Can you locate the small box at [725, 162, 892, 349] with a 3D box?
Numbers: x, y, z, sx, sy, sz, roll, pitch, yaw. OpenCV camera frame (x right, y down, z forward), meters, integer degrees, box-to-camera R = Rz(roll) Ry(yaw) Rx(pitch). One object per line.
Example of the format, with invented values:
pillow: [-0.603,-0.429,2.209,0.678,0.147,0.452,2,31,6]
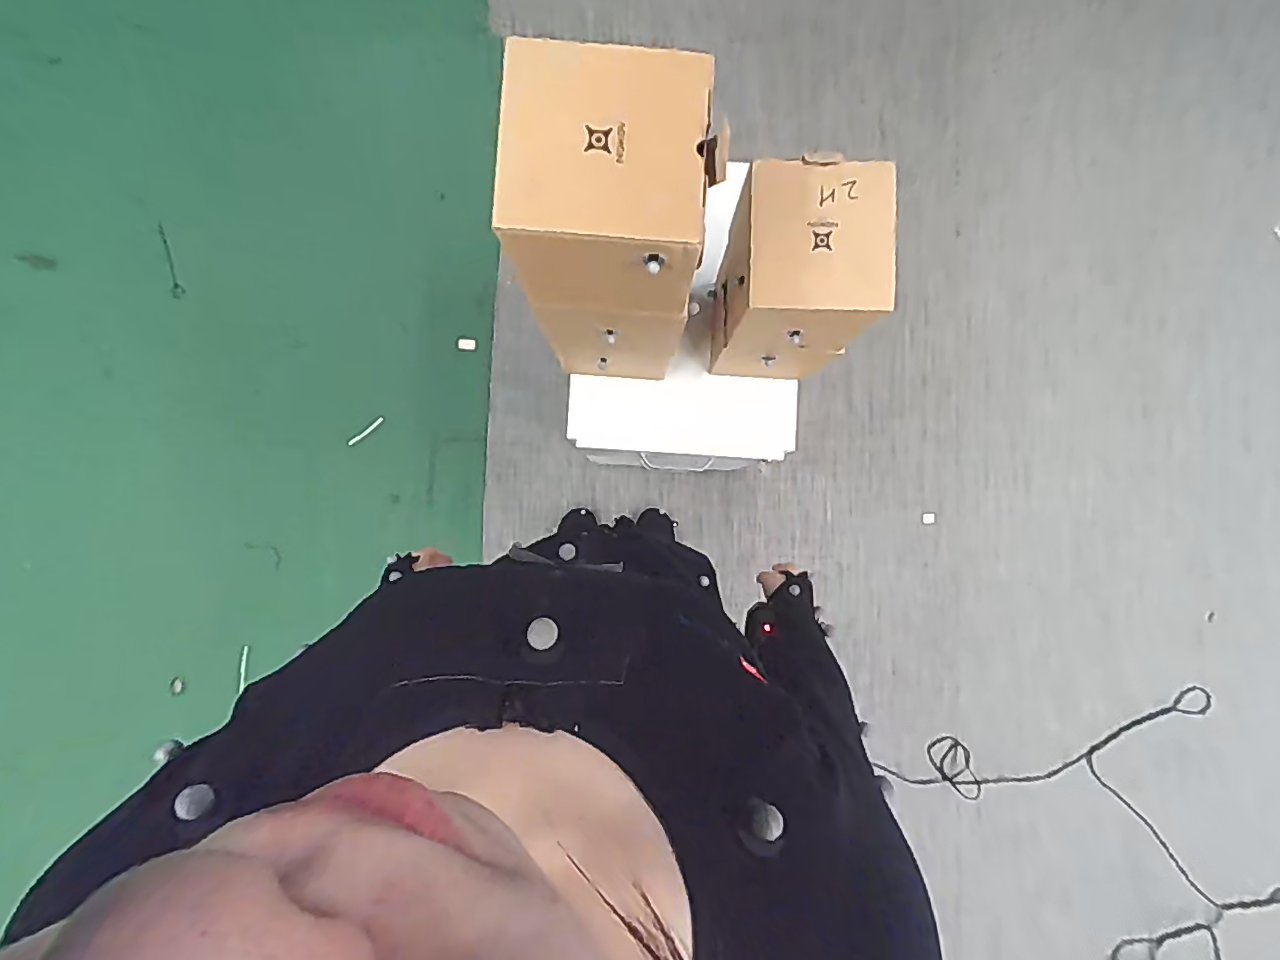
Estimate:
small box: [0.206,-0.275,0.700,0.168,0.176,0.179,1,87,0]

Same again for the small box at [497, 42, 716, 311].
small box: [-0.030,-0.278,0.533,0.179,0.176,0.168,3,87,-3]

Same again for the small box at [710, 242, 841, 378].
small box: [0.210,-0.265,0.865,0.179,0.176,0.168,4,88,0]

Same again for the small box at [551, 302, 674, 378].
small box: [-0.038,-0.265,0.860,0.179,0.176,0.168,4,88,-2]
